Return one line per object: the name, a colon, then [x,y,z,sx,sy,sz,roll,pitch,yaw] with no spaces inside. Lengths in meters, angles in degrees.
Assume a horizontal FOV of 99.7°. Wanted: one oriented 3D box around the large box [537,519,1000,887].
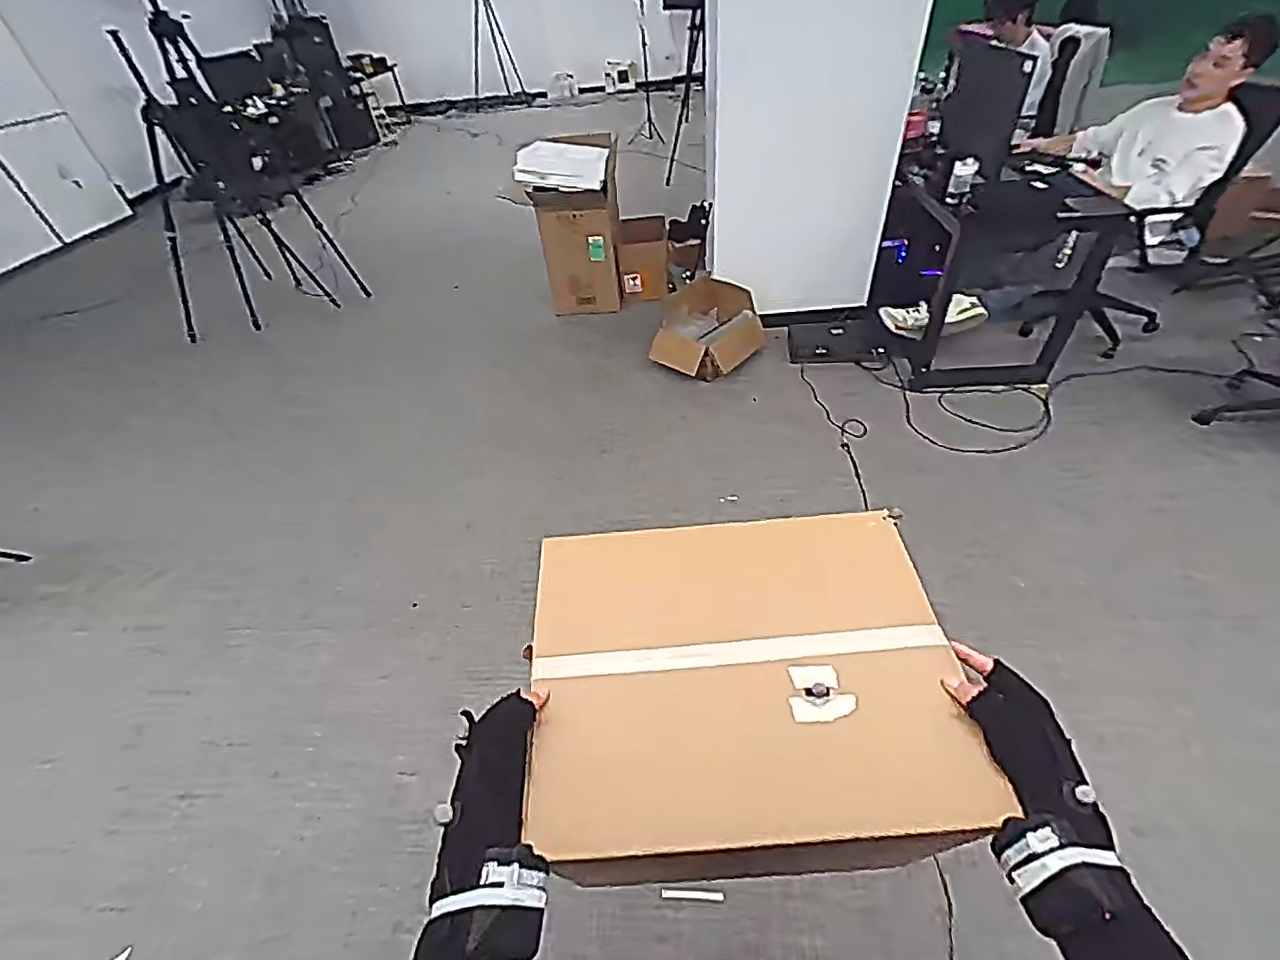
large box: [0.105,0.277,0.661,0.408,0.320,0.320,-5,50,0]
